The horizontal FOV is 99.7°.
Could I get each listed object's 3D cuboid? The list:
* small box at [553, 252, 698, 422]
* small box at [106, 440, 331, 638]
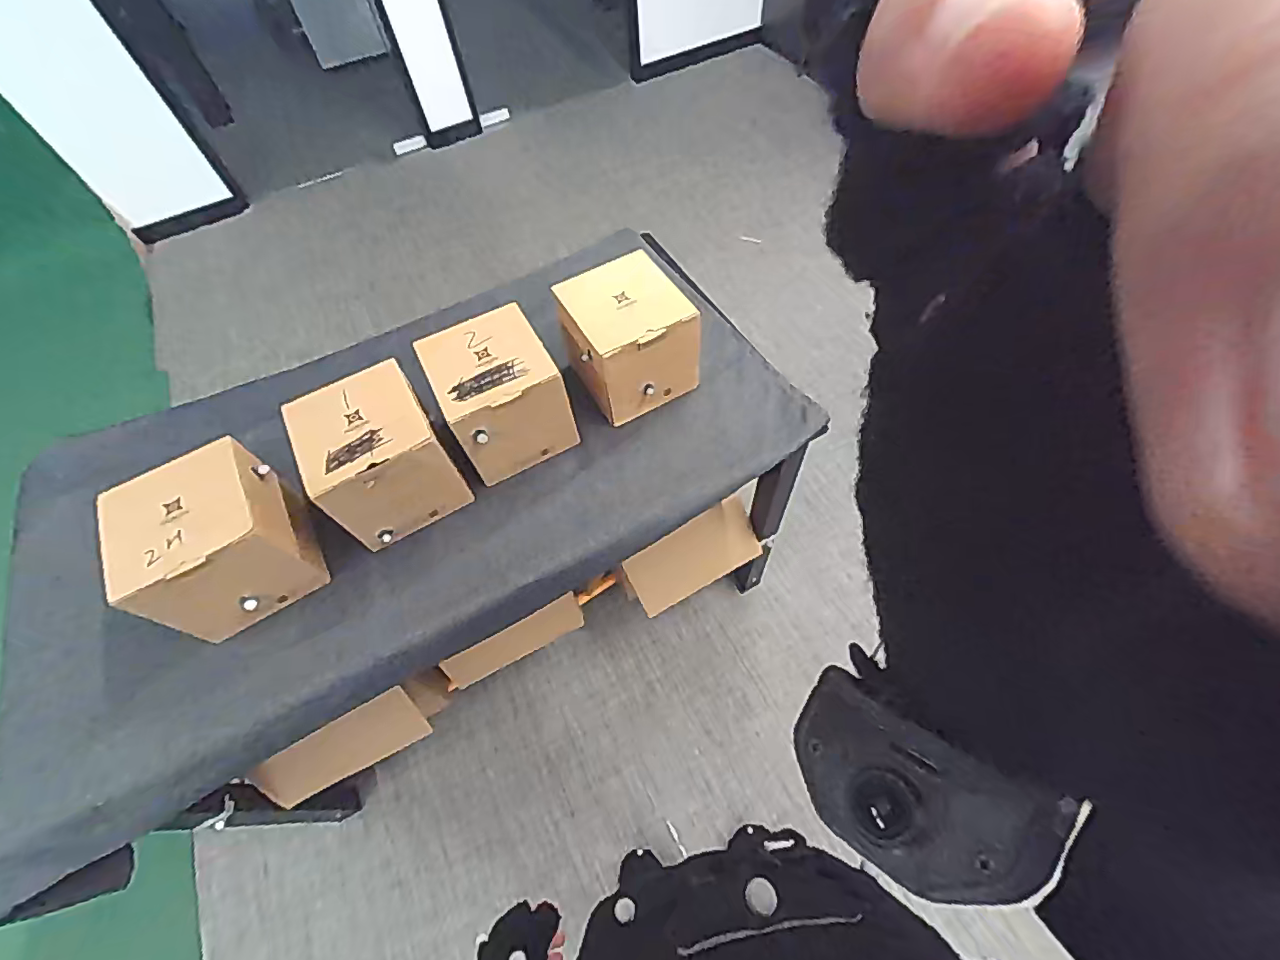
[{"bbox_3d":[-0.021,-0.228,0.882,0.168,0.176,0.179,-28,61,-12],"label":"small box"},{"bbox_3d":[-0.562,0.085,0.736,0.168,0.176,0.179,-31,62,-13],"label":"small box"}]
